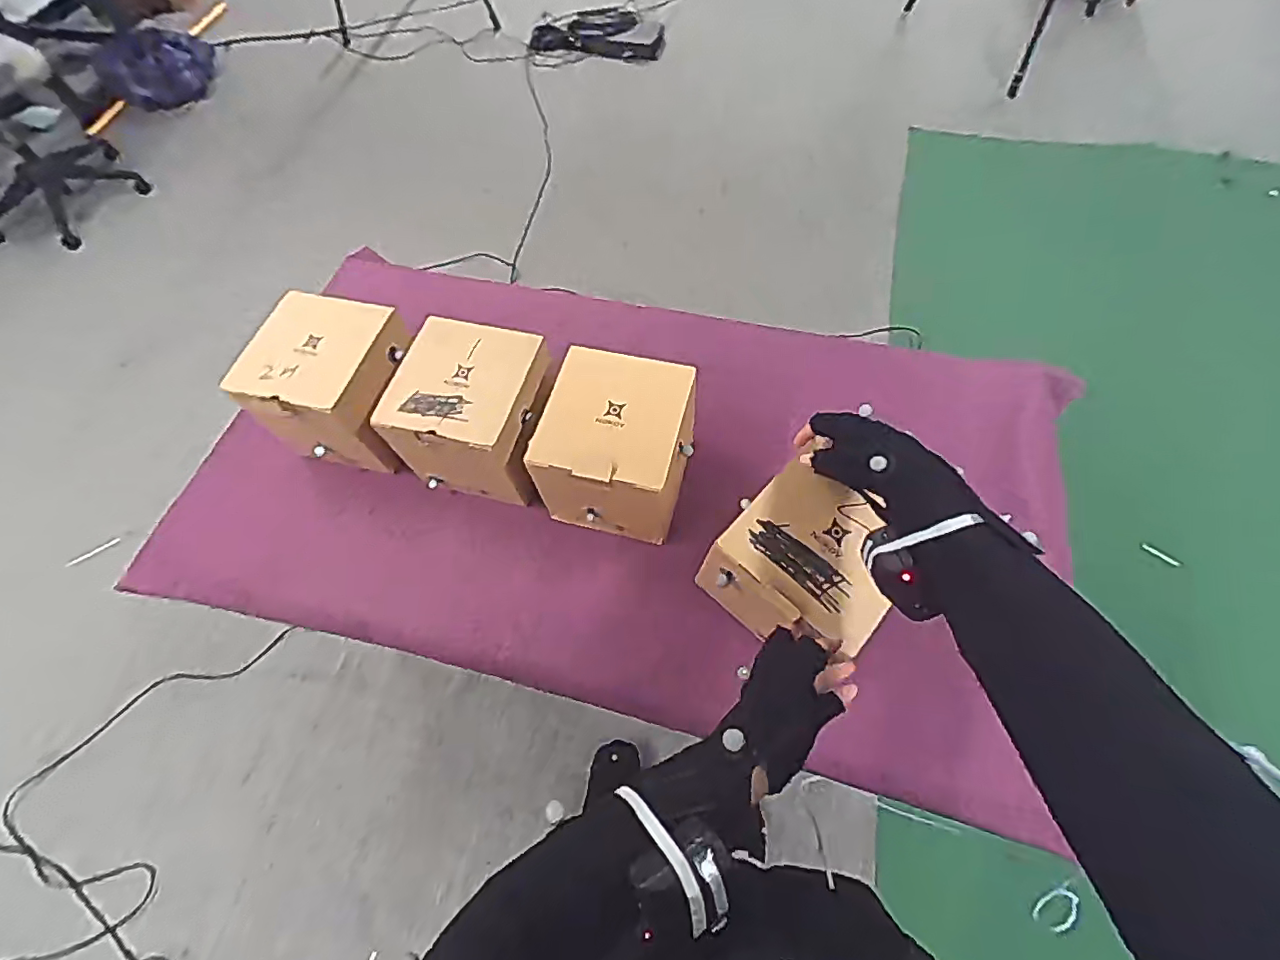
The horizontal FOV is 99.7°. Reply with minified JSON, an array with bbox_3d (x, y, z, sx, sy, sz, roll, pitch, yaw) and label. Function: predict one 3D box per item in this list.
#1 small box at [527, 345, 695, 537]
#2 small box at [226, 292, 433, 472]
[{"bbox_3d":[-0.028,-0.046,0.714,0.168,0.176,0.179,12,66,9],"label":"small box"},{"bbox_3d":[-0.427,-0.137,0.783,0.168,0.176,0.179,12,65,10],"label":"small box"}]
